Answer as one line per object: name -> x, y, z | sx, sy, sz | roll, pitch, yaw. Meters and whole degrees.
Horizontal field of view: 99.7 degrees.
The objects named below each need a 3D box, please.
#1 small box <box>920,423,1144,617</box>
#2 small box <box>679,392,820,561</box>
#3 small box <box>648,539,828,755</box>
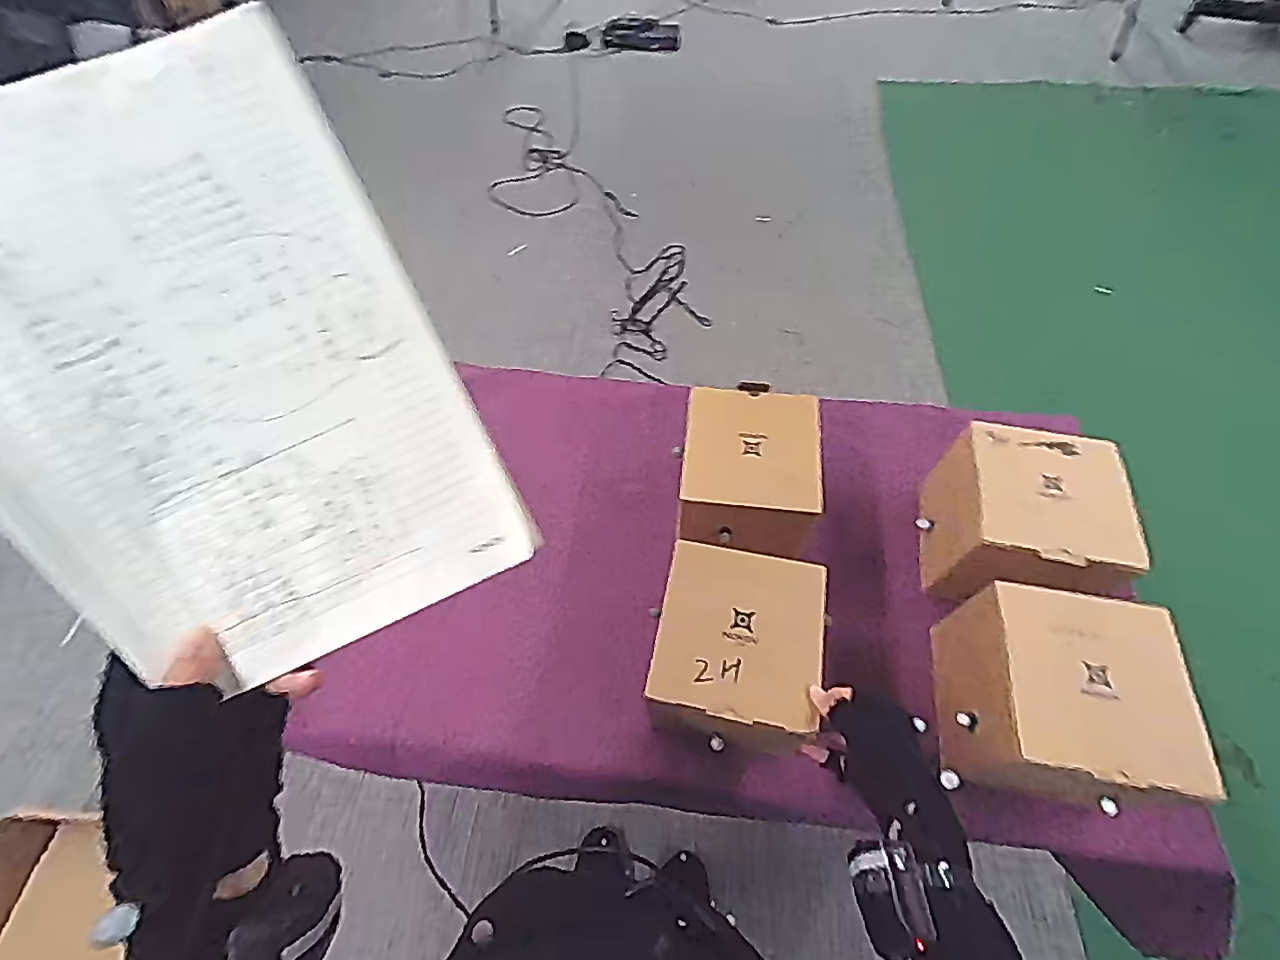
small box -> 0.475, 0.057, 0.688 | 0.168, 0.176, 0.179 | 12, 60, 9
small box -> 0.143, 0.004, 0.739 | 0.168, 0.176, 0.179 | 5, 58, 6
small box -> 0.106, 0.194, 0.616 | 0.168, 0.176, 0.179 | 10, 58, 9
